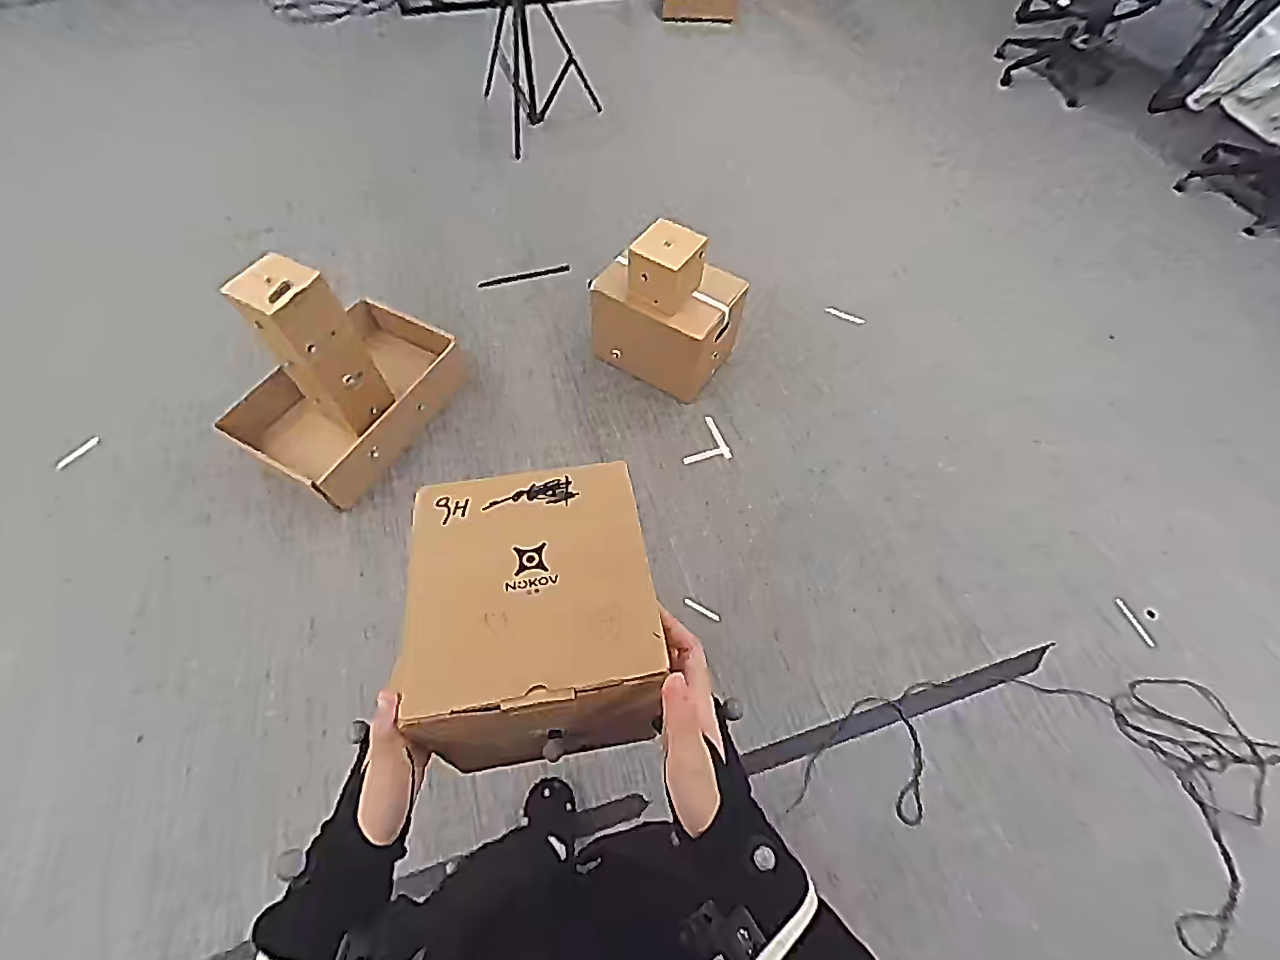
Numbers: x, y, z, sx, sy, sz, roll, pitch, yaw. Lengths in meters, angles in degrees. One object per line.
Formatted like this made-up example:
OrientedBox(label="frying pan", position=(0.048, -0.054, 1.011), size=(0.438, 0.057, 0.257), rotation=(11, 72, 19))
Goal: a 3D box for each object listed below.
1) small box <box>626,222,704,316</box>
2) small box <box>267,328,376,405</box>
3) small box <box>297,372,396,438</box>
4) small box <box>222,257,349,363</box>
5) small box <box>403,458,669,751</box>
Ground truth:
OrientedBox(label="small box", position=(0.072, -0.622, 1.609), size=(0.168, 0.176, 0.179), rotation=(30, 63, 14))
OrientedBox(label="small box", position=(-0.889, -0.341, 1.518), size=(0.179, 0.176, 0.168), rotation=(27, 63, 12))
OrientedBox(label="small box", position=(-0.893, -0.257, 1.657), size=(0.179, 0.176, 0.168), rotation=(28, 63, 14))
OrientedBox(label="small box", position=(-0.889, -0.425, 1.376), size=(0.179, 0.176, 0.168), rotation=(25, 62, 14))
OrientedBox(label="small box", position=(-0.077, 0.107, 0.439), size=(0.168, 0.176, 0.179), rotation=(-6, 54, -9))
